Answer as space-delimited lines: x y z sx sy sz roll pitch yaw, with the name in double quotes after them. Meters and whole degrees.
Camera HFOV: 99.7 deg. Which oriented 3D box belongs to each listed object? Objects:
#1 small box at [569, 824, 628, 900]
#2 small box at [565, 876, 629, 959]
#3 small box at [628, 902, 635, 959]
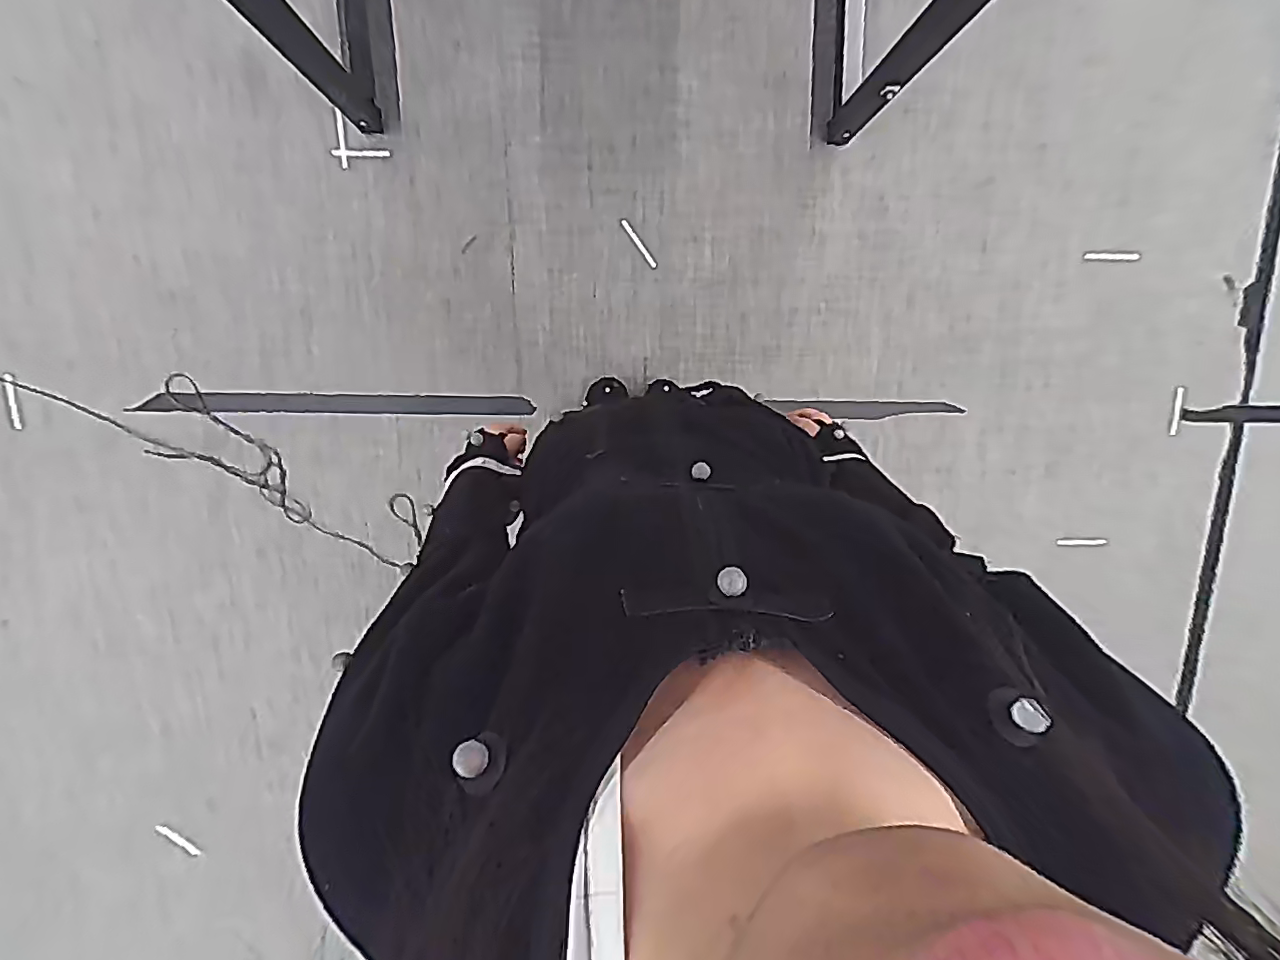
-0.123 1.169 1.624 0.168 0.176 0.179 -3 102 -2 "small box"
-0.117 1.213 1.466 0.168 0.176 0.179 1 102 -3 "small box"
-0.105 1.444 1.679 0.168 0.176 0.179 -8 101 -2 "small box"
